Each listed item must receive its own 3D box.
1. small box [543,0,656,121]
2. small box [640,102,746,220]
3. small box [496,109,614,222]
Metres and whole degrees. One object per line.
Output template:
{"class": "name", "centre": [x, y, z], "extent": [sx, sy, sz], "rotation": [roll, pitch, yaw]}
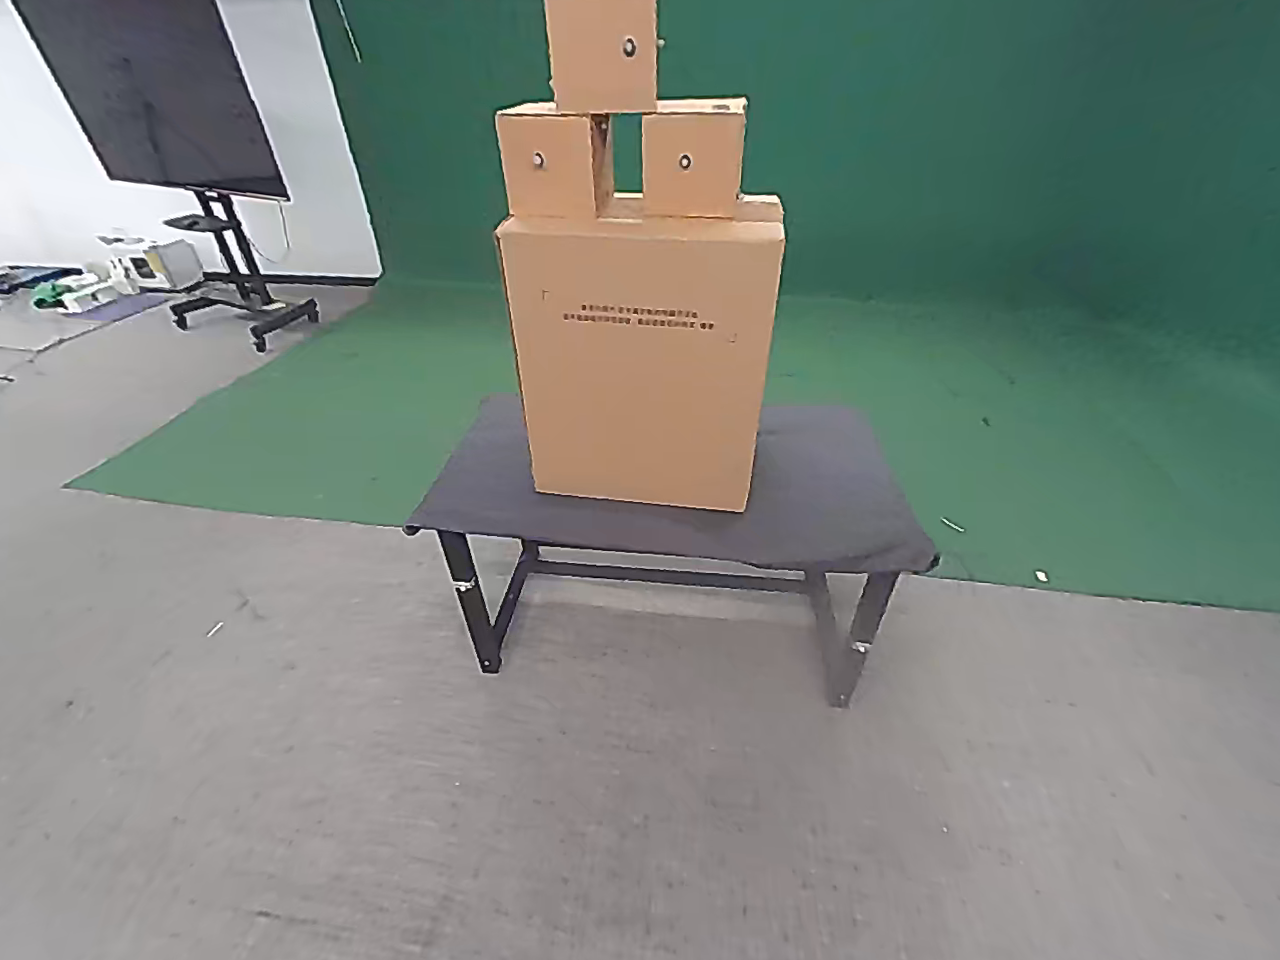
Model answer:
{"class": "small box", "centre": [-0.060, -0.734, 0.940], "extent": [0.179, 0.176, 0.168], "rotation": [-2, 39, 1]}
{"class": "small box", "centre": [0.103, -0.608, 1.034], "extent": [0.179, 0.176, 0.168], "rotation": [5, 42, 10]}
{"class": "small box", "centre": [-0.154, -0.614, 1.054], "extent": [0.179, 0.176, 0.168], "rotation": [6, 42, 9]}
